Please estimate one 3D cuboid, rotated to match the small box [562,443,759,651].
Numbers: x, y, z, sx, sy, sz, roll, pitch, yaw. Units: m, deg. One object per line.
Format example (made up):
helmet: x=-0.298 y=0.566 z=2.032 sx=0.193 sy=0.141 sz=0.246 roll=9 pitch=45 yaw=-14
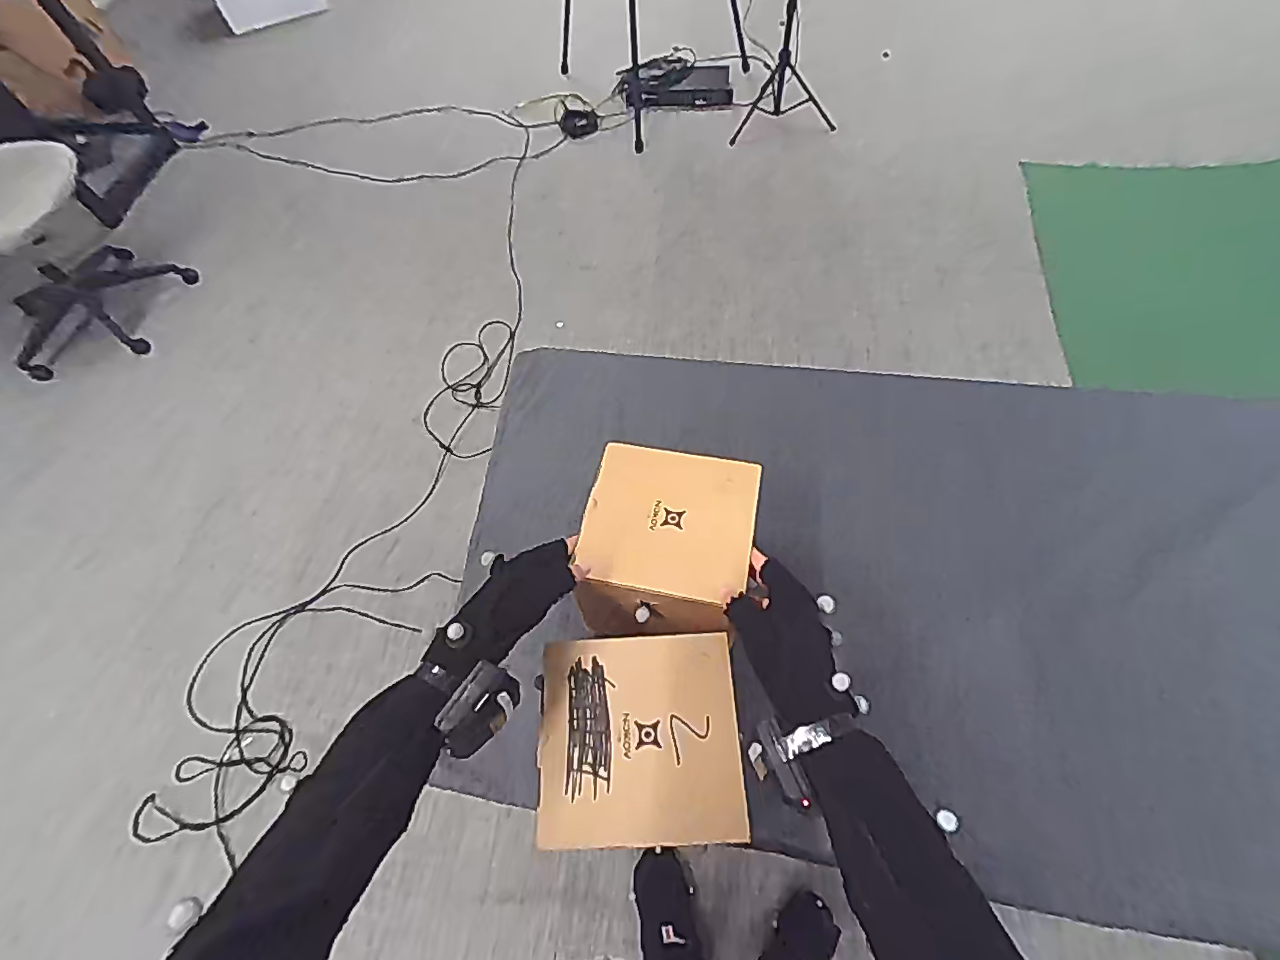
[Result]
small box: x=0.031 y=0.082 z=0.615 sx=0.179 sy=0.176 sz=0.168 roll=8 pitch=57 yaw=10
